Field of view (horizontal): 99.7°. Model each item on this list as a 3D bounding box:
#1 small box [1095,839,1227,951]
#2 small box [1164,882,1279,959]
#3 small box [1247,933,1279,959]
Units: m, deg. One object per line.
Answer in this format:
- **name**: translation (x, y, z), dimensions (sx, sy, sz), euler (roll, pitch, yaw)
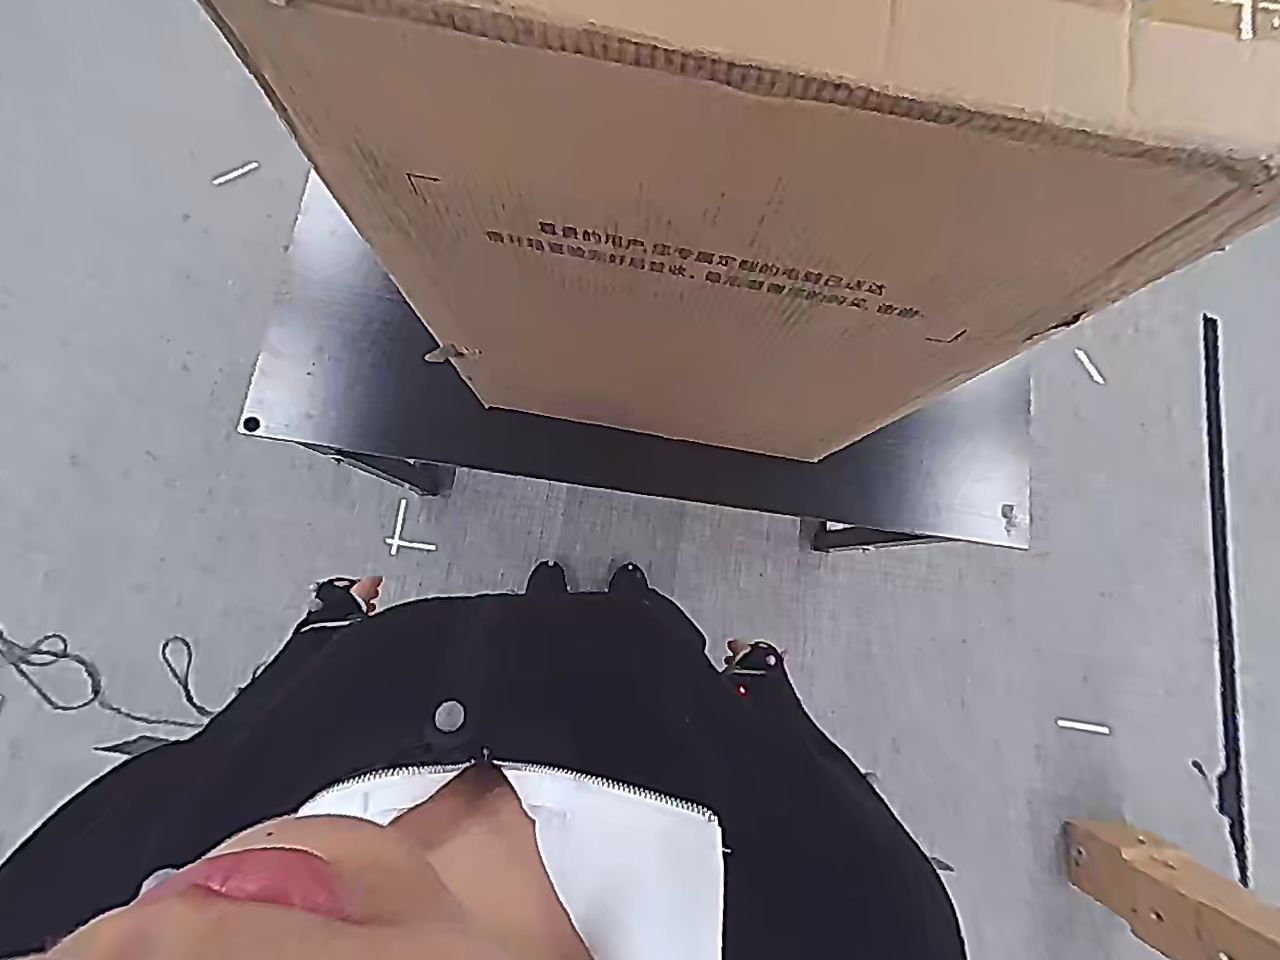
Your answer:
- **small box**: translation (1.279, 1.010, 1.328), dimensions (0.179, 0.176, 0.168), euler (2, 80, -2)
- **small box**: translation (1.287, 1.001, 1.164), dimensions (0.179, 0.176, 0.168), euler (1, 80, -3)
- **small box**: translation (1.302, 0.983, 1.000), dimensions (0.179, 0.176, 0.168), euler (6, 79, -3)
